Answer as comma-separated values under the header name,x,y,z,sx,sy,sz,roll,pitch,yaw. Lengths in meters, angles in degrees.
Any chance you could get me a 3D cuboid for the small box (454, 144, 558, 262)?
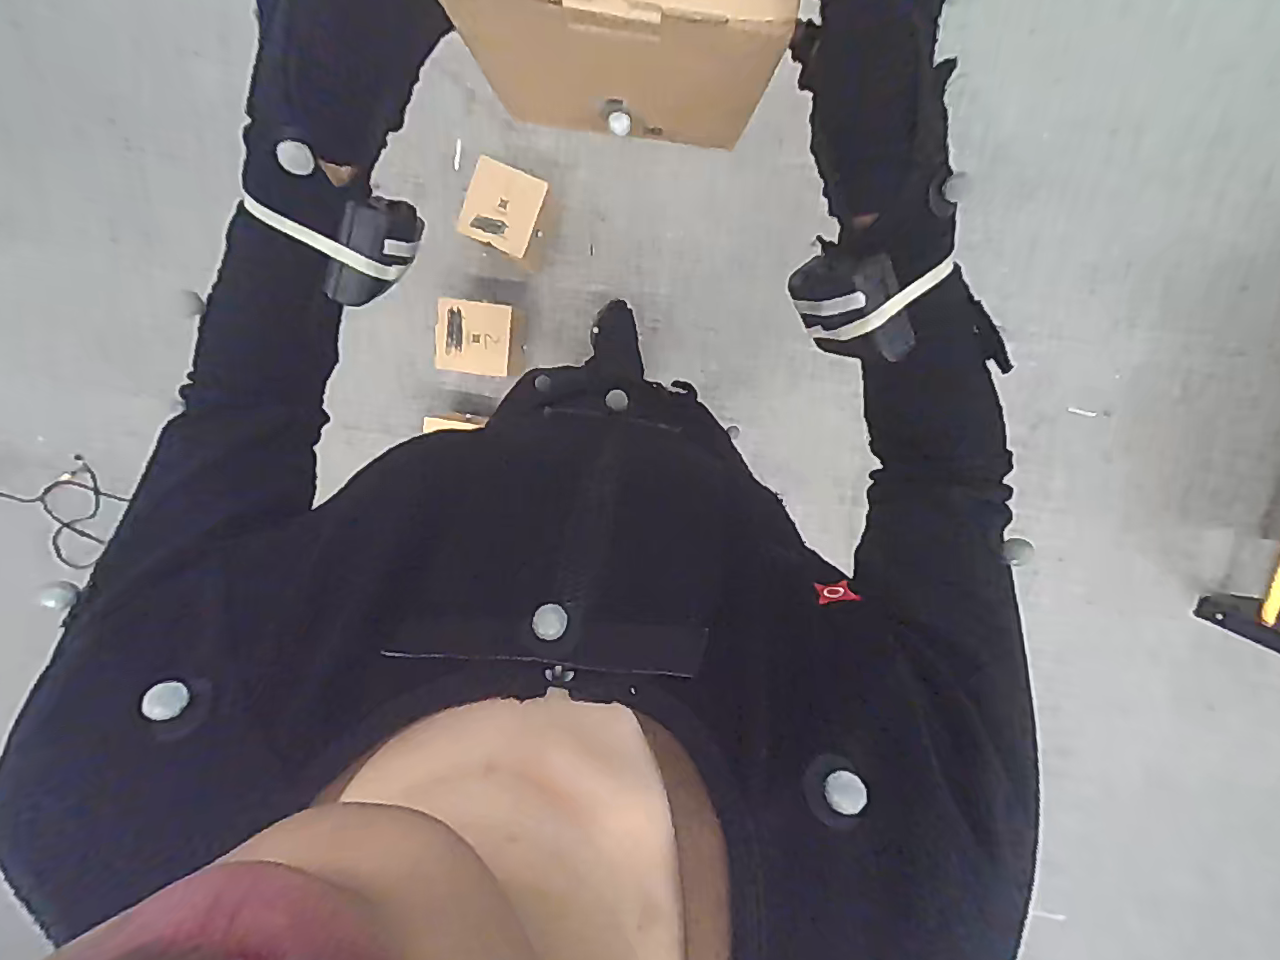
name,x,y,z,sx,sy,sz,roll,pitch,yaw
small box,-0.306,-0.639,1.274,0.168,0.176,0.179,23,100,-3
